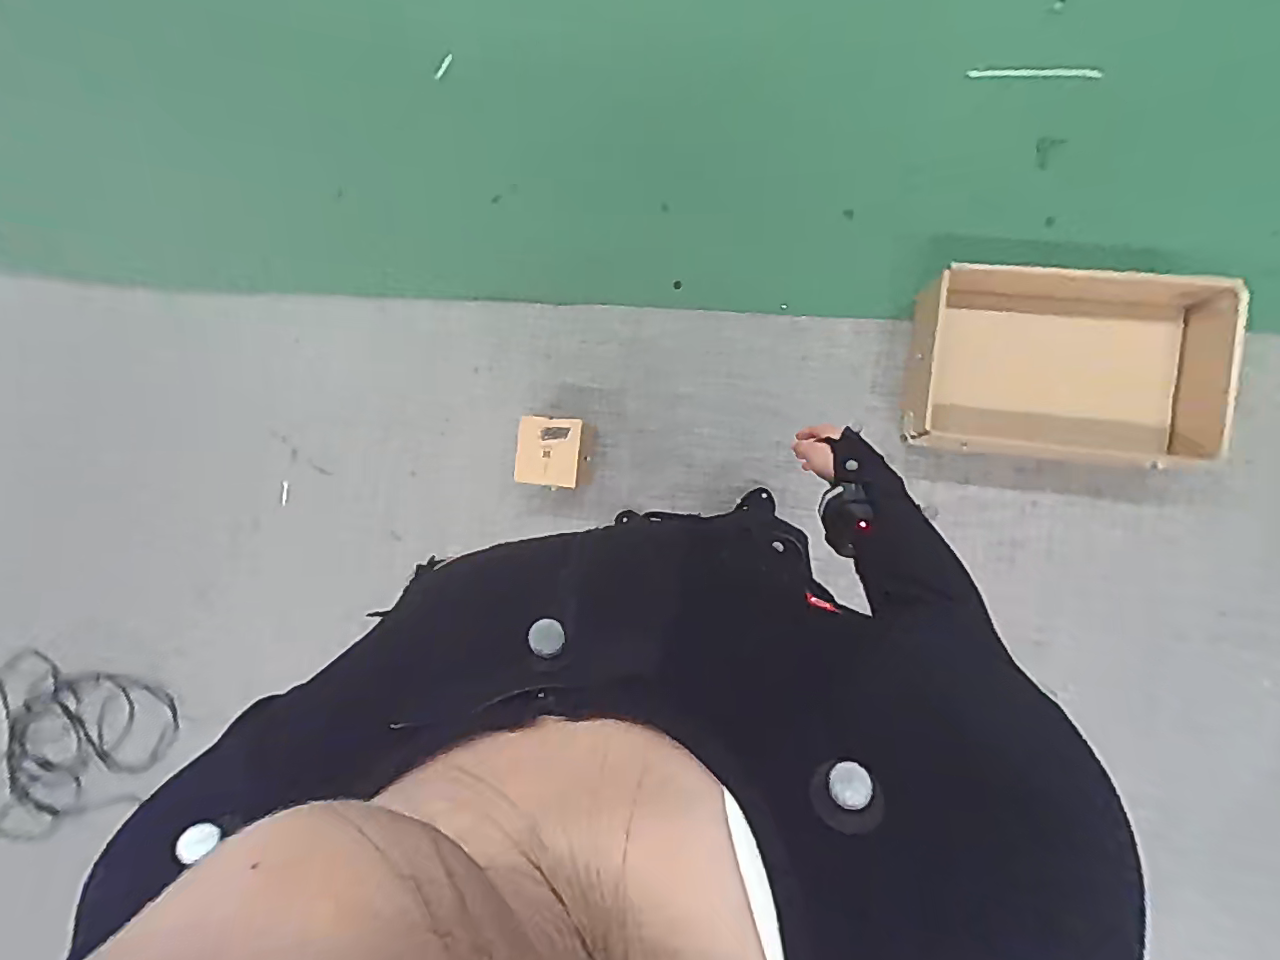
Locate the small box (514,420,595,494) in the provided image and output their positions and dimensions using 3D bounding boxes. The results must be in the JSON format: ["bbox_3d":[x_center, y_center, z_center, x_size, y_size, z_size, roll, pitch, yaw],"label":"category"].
[{"bbox_3d":[-0.220,-0.058,1.438,0.168,0.176,0.179,6,91,7],"label":"small box"}]
